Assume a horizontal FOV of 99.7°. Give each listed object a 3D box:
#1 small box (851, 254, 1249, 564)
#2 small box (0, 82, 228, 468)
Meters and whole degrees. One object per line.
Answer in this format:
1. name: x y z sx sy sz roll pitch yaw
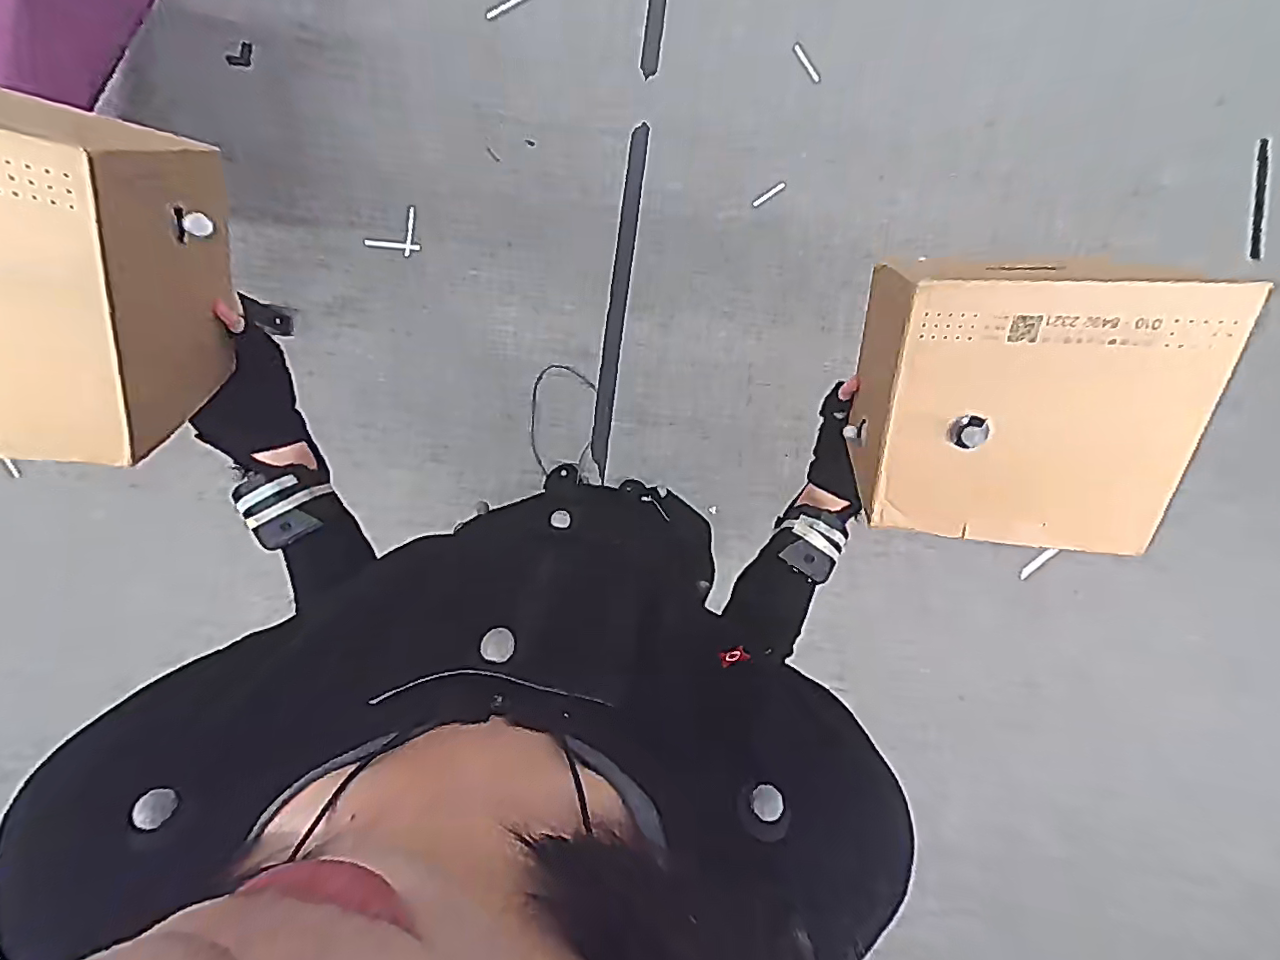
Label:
1. small box: 0.257 -0.065 0.385 0.168 0.179 0.176 7 117 13
2. small box: -0.362 -0.127 0.303 0.168 0.179 0.176 7 117 -22
